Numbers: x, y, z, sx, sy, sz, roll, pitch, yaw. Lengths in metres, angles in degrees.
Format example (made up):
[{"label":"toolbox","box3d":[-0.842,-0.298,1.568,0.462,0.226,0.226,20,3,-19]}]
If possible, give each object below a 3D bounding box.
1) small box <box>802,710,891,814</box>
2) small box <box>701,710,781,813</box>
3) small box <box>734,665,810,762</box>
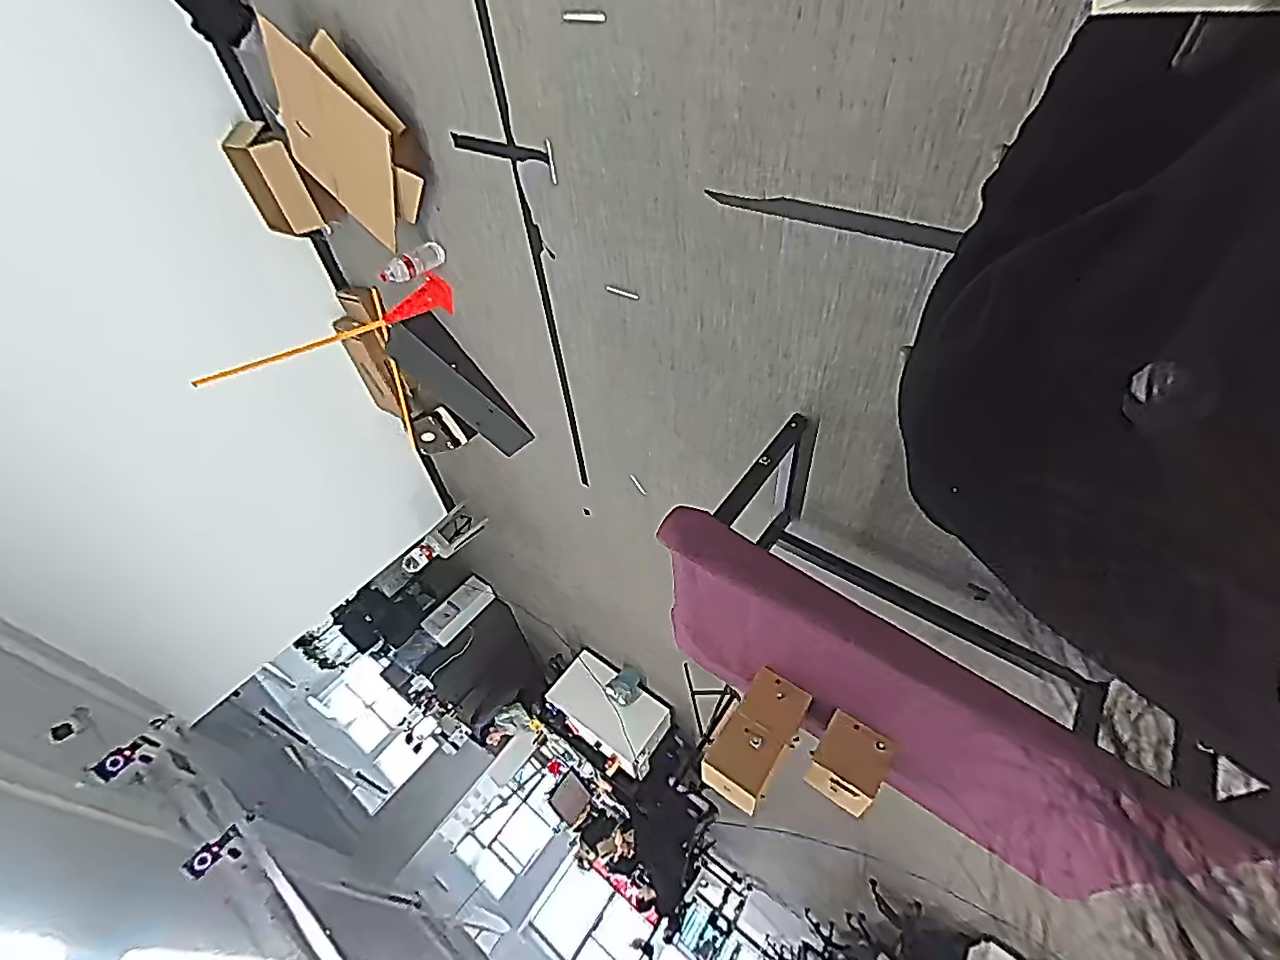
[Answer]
[{"label":"small box","box3d":[0.569,0.769,1.487,0.168,0.176,0.179,27,144,27]},{"label":"small box","box3d":[0.285,0.789,1.525,0.168,0.176,0.179,24,142,28]},{"label":"small box","box3d":[0.385,0.690,1.605,0.168,0.176,0.179,26,143,26]}]
